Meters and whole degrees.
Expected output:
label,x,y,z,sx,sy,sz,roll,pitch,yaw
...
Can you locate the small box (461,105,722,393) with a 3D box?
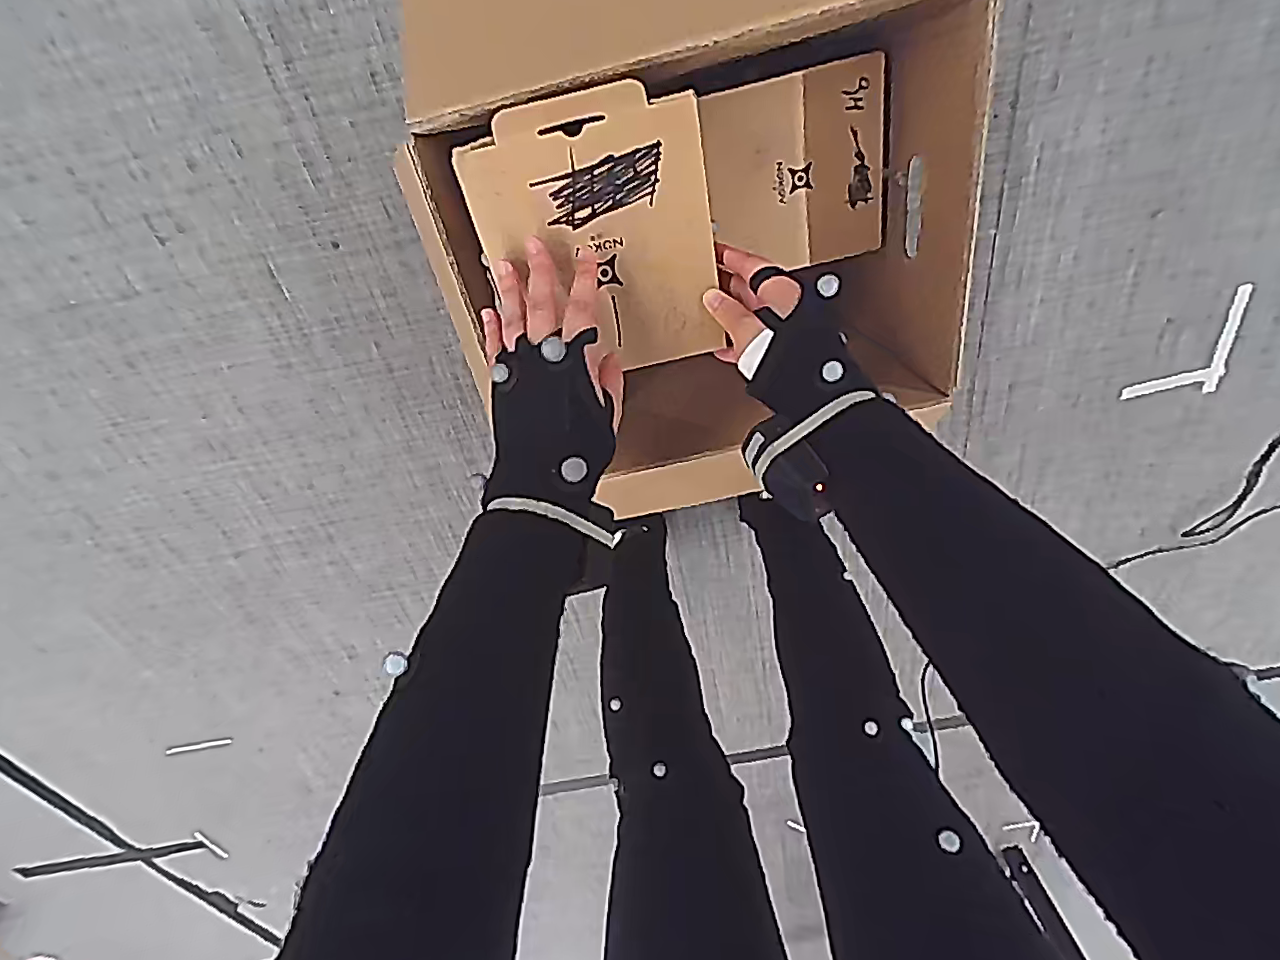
label,x,y,z,sx,sy,sz,roll,pitch,yaw
small box,-0.033,-0.202,0.471,0.168,0.176,0.179,-12,124,4
